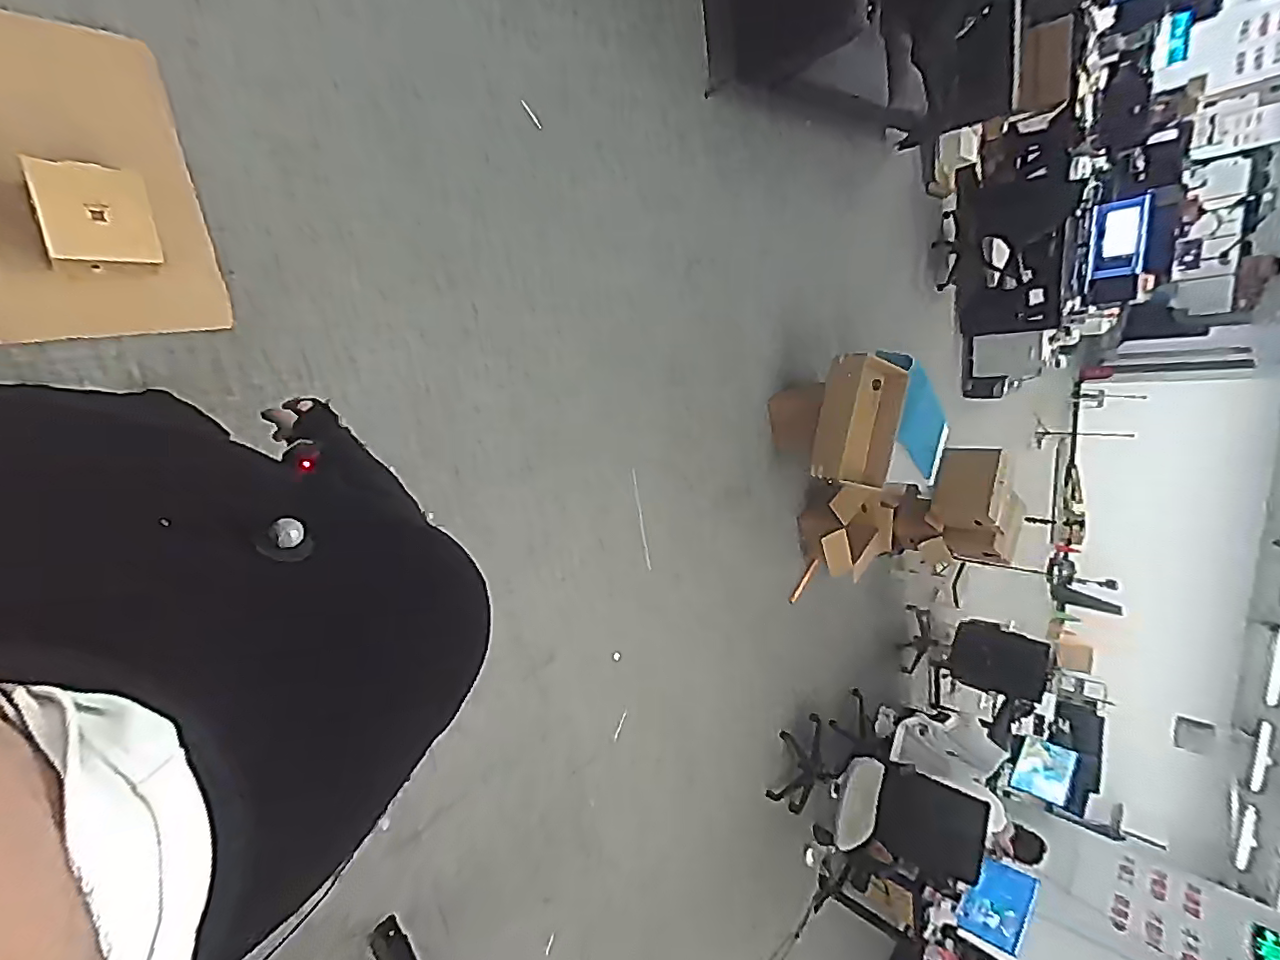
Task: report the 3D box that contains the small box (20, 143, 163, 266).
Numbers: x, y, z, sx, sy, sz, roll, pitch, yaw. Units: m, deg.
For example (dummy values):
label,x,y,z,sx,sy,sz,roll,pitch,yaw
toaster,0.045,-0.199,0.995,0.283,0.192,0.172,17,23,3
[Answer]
label,x,y,z,sx,sy,sz,roll,pitch,yaw
small box,-1.079,-0.533,1.078,0.168,0.176,0.179,-16,106,-42
